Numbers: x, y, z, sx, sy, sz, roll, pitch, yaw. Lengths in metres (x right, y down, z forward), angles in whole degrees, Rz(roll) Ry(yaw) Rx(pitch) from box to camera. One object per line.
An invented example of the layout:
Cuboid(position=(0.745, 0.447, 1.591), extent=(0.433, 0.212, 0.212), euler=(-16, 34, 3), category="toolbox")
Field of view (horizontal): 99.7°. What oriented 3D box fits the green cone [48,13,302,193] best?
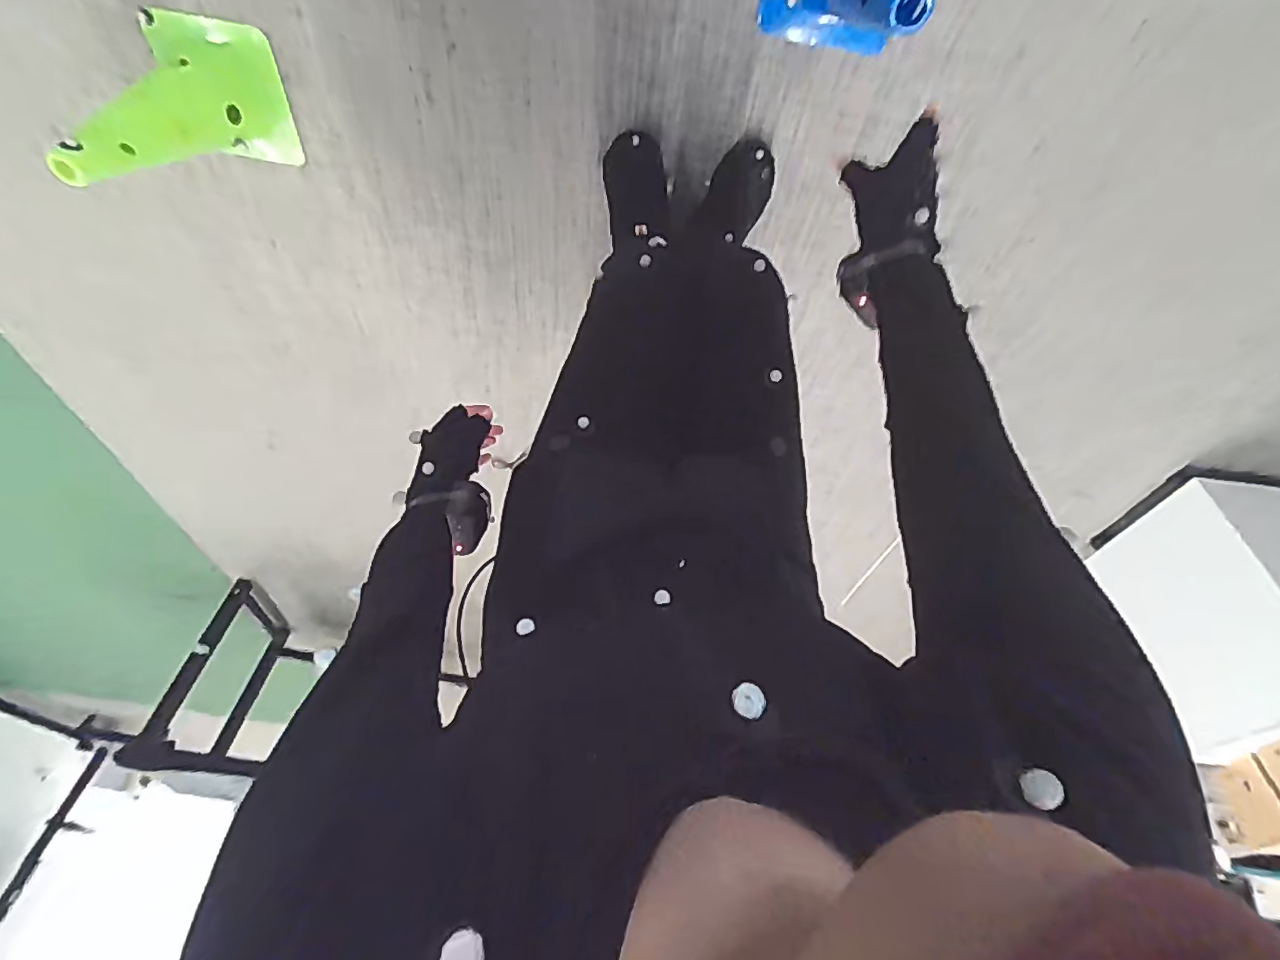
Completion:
Cuboid(position=(-0.709, -0.513, 0.795), extent=(0.202, 0.368, 0.200), euler=(8, 140, -2), category="green cone")
